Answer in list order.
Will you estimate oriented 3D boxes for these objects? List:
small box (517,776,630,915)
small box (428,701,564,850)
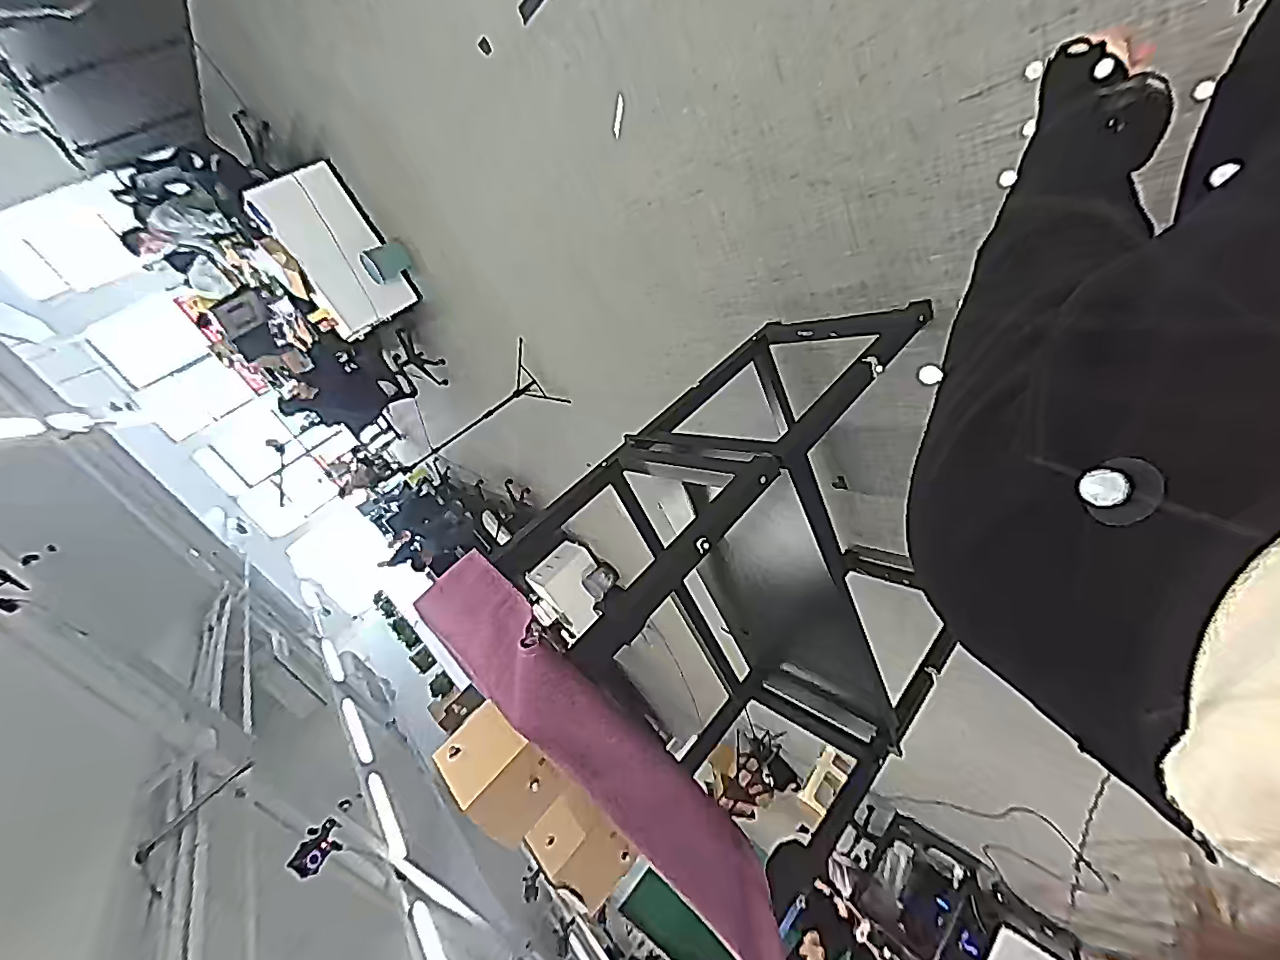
[{"bbox_3d":[-0.146,0.829,1.245,0.179,0.176,0.168,7,134,57],"label":"small box"},{"bbox_3d":[-0.282,0.575,1.080,0.179,0.176,0.168,16,142,50],"label":"small box"}]
